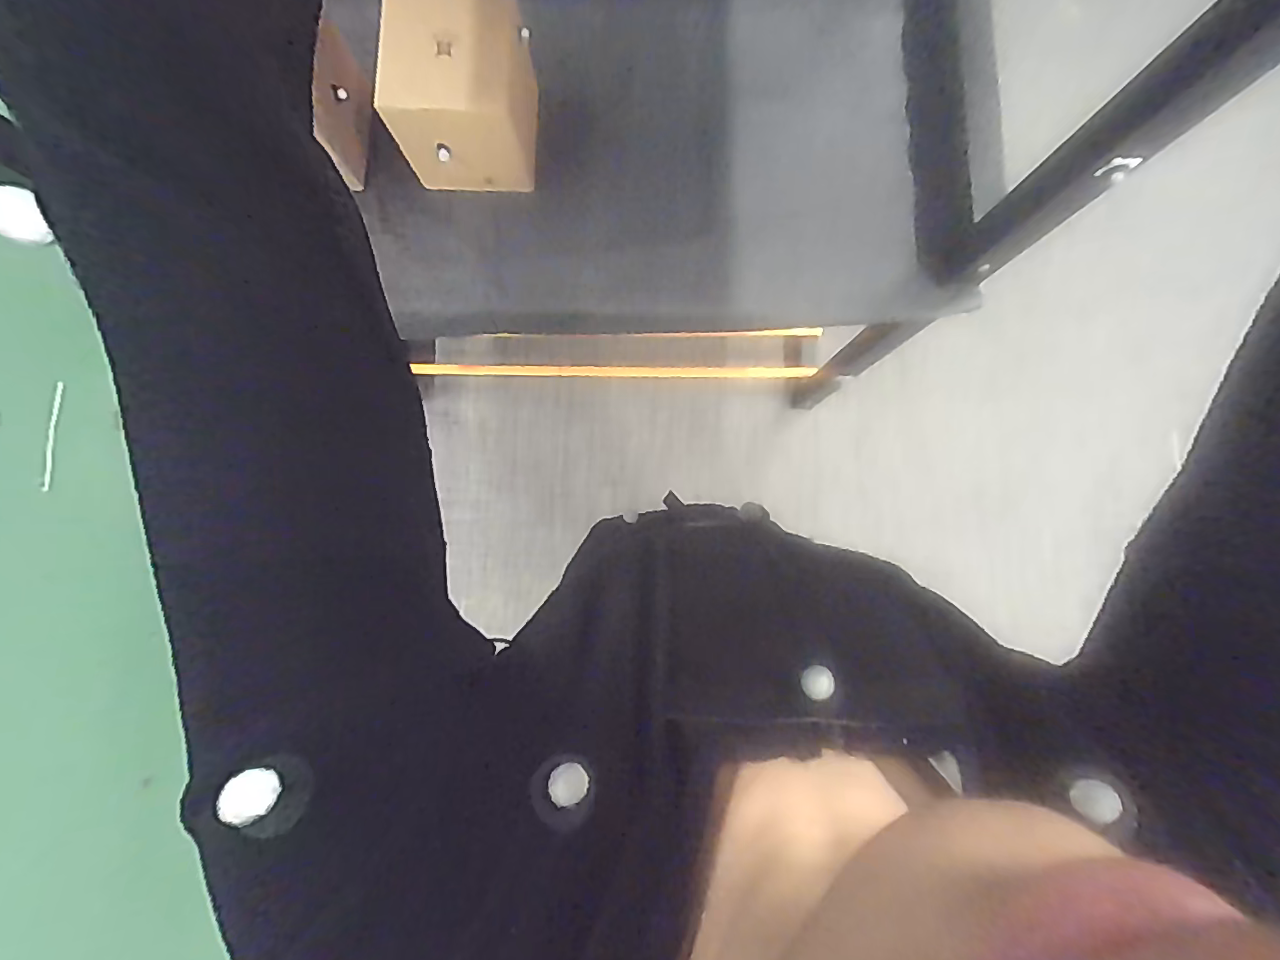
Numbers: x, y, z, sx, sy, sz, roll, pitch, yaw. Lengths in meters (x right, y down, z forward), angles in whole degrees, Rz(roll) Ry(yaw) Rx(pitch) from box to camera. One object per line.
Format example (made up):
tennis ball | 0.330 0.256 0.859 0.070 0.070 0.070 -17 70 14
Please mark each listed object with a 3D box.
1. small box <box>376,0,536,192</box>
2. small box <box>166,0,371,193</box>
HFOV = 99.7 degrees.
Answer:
small box | -0.243 -0.531 0.753 0.168 0.176 0.179 1 84 0
small box | -0.496 -0.534 0.750 0.168 0.176 0.179 1 85 0
